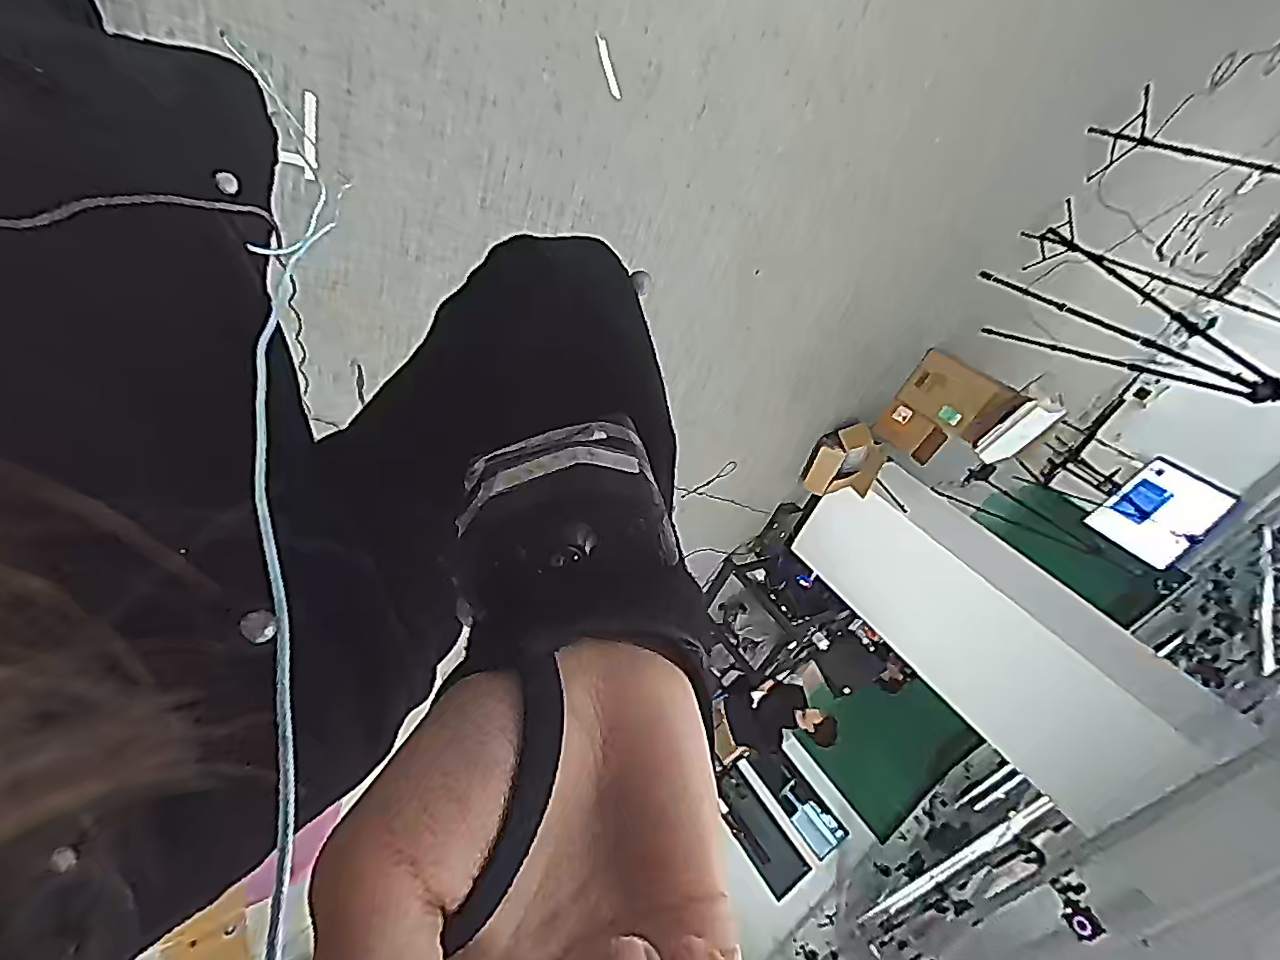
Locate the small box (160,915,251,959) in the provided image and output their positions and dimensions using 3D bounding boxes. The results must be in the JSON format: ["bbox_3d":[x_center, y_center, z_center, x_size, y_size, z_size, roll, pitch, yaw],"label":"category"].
[{"bbox_3d":[-1.065,1.229,1.333,0.168,0.176,0.179,-7,133,-40],"label":"small box"}]

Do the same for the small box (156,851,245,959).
[{"bbox_3d":[-1.155,1.120,1.417,0.168,0.176,0.179,-2,129,-43],"label":"small box"}]
